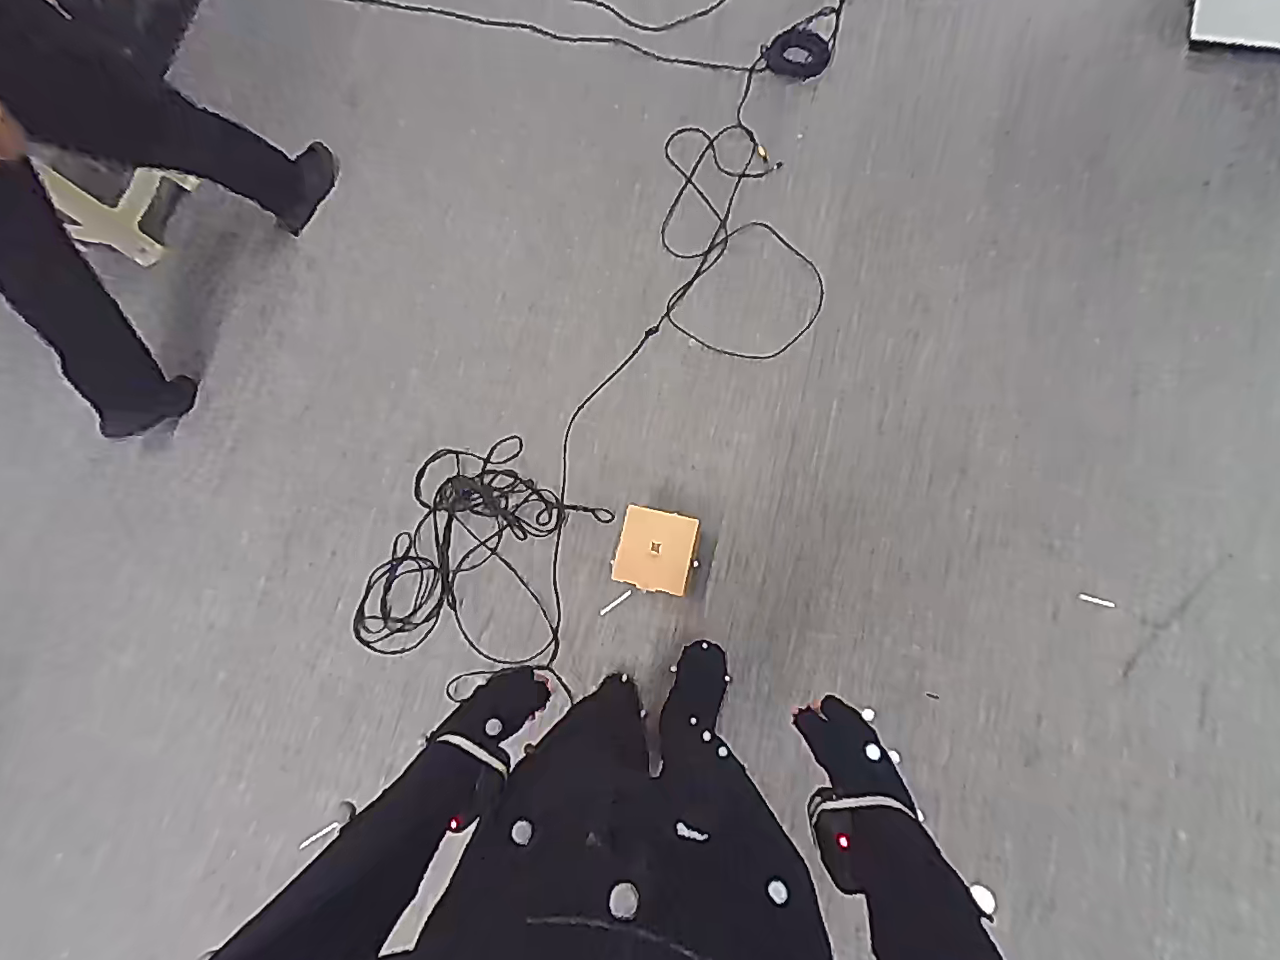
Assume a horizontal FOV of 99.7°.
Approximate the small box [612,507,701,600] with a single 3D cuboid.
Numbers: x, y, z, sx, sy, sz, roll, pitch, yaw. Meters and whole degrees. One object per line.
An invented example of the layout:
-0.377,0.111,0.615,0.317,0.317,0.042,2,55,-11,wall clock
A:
0.045,0.178,1.275,0.168,0.176,0.179,12,80,10,small box
